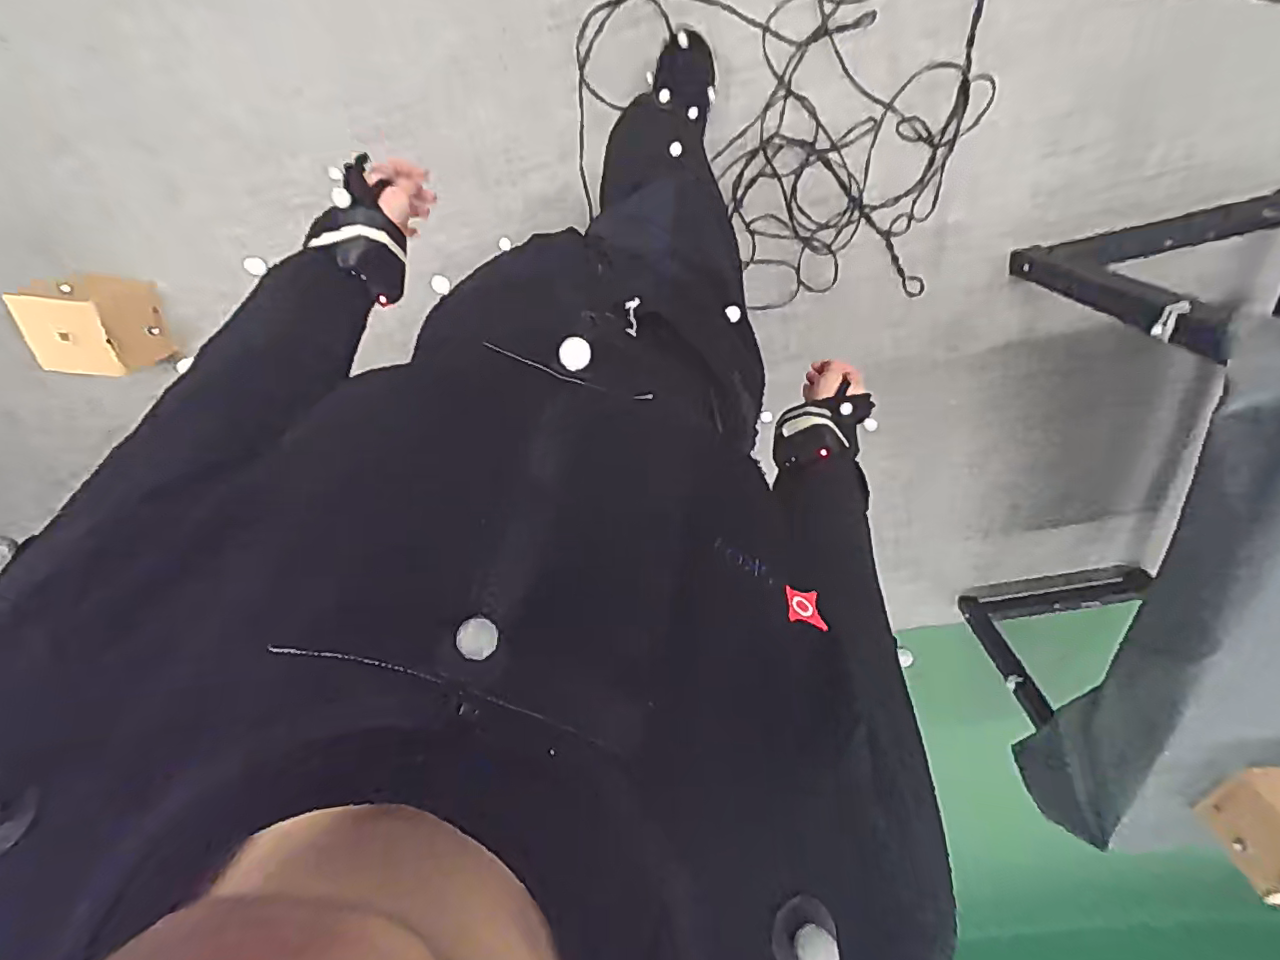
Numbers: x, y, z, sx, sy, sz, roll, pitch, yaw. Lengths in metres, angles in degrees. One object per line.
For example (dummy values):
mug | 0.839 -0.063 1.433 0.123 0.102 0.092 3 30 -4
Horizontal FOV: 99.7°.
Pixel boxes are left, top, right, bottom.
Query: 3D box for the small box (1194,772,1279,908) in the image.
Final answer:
small box | 1.218 0.664 1.007 0.179 0.176 0.168 -2 125 0

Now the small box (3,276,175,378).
small box | -1.197 -0.342 1.193 0.179 0.176 0.168 5 124 -4
